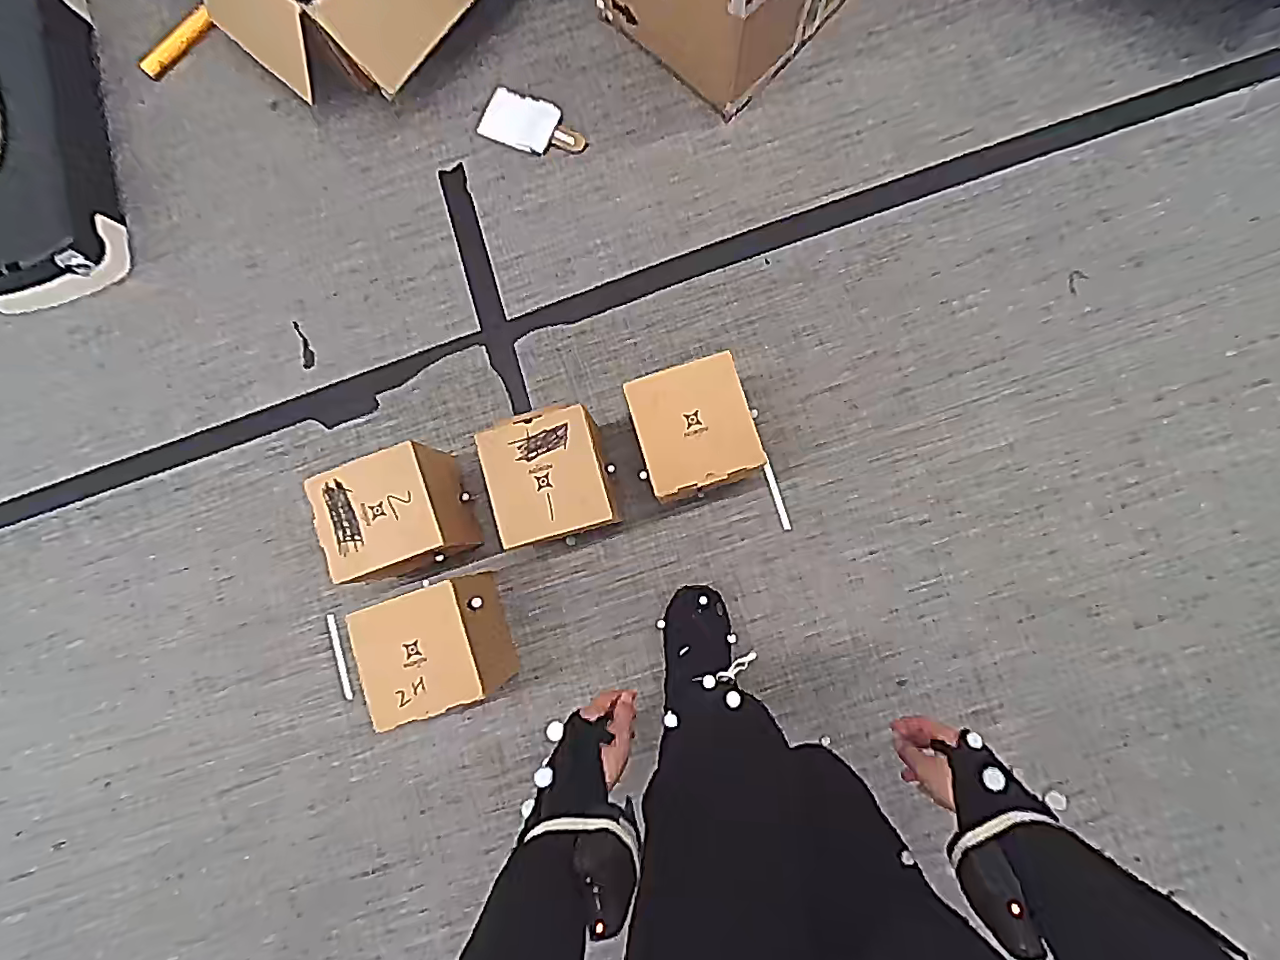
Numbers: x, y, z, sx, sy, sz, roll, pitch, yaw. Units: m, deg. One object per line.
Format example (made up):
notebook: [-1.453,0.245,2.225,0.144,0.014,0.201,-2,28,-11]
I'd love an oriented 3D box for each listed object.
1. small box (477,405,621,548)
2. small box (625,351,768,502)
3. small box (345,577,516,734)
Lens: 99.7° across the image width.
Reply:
small box: [-0.132,0.002,0.847,0.168,0.176,0.179,-16,84,2]
small box: [0.082,-0.073,0.844,0.168,0.176,0.179,-18,84,1]
small box: [-0.311,0.254,0.832,0.168,0.176,0.179,-19,84,2]
